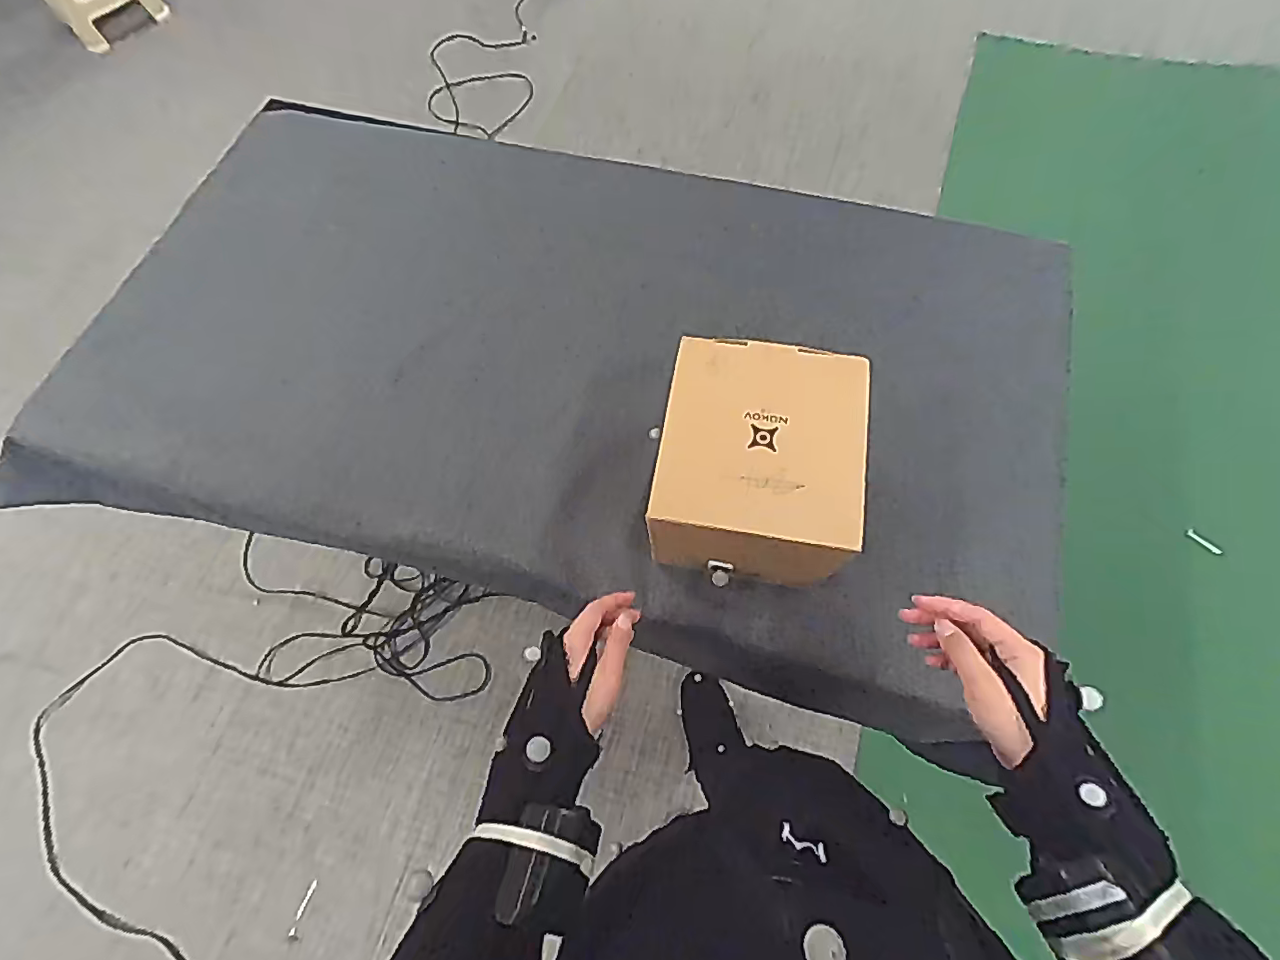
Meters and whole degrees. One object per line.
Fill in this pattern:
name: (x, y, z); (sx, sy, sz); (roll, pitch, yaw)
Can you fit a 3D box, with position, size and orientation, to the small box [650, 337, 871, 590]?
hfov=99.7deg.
small box: (0.106, -0.007, 0.513); (0.168, 0.176, 0.179); (8, 69, 7)
